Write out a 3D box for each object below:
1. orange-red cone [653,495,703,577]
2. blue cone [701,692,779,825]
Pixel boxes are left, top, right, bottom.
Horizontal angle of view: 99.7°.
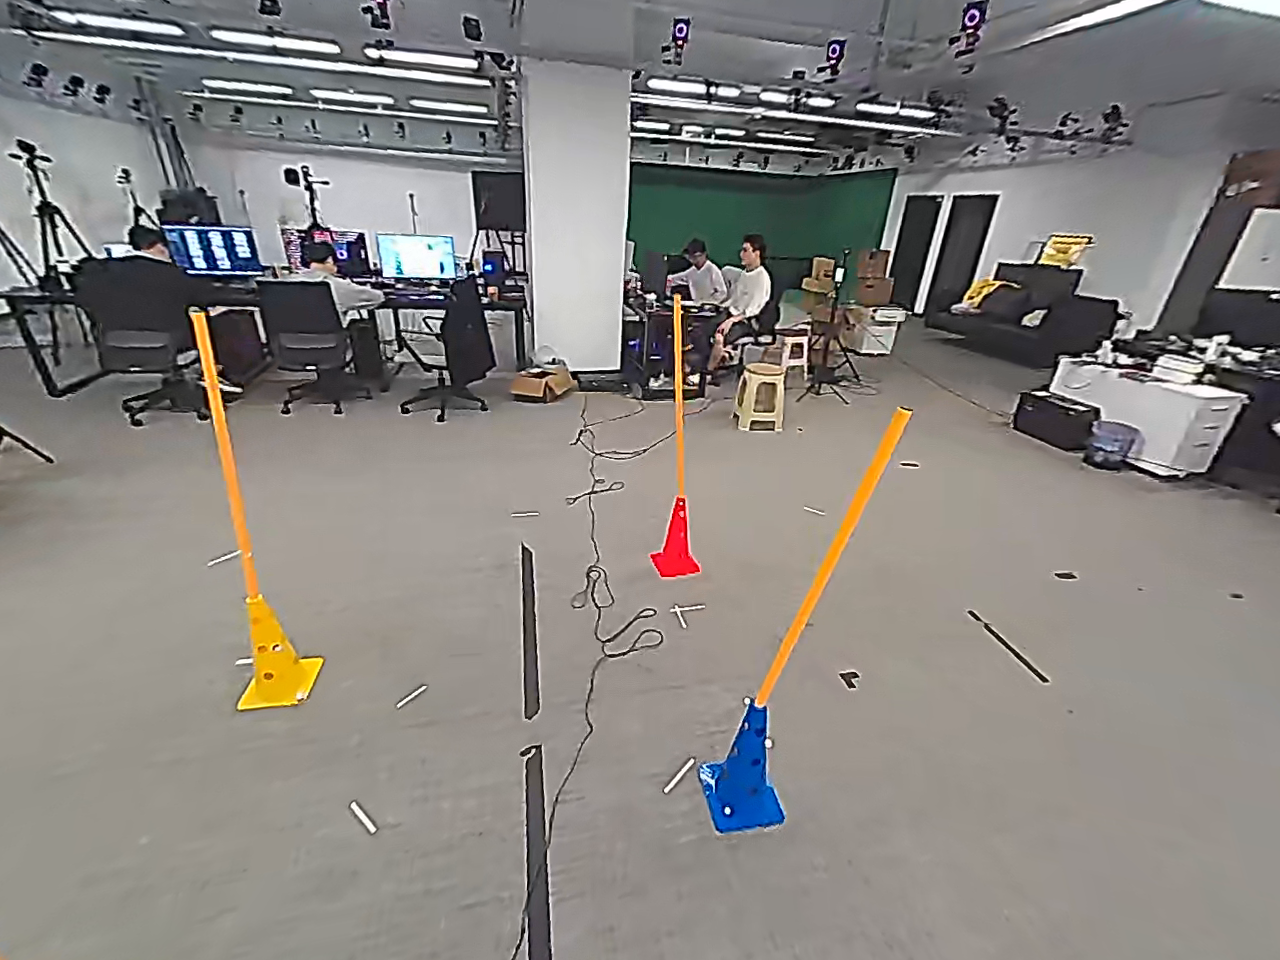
[{"bbox_3d":[0.181,0.233,2.449,0.199,0.360,0.198,-6,27,-16],"label":"orange-red cone"},{"bbox_3d":[0.290,0.732,1.462,0.193,0.380,0.192,-1,25,-9],"label":"blue cone"}]
